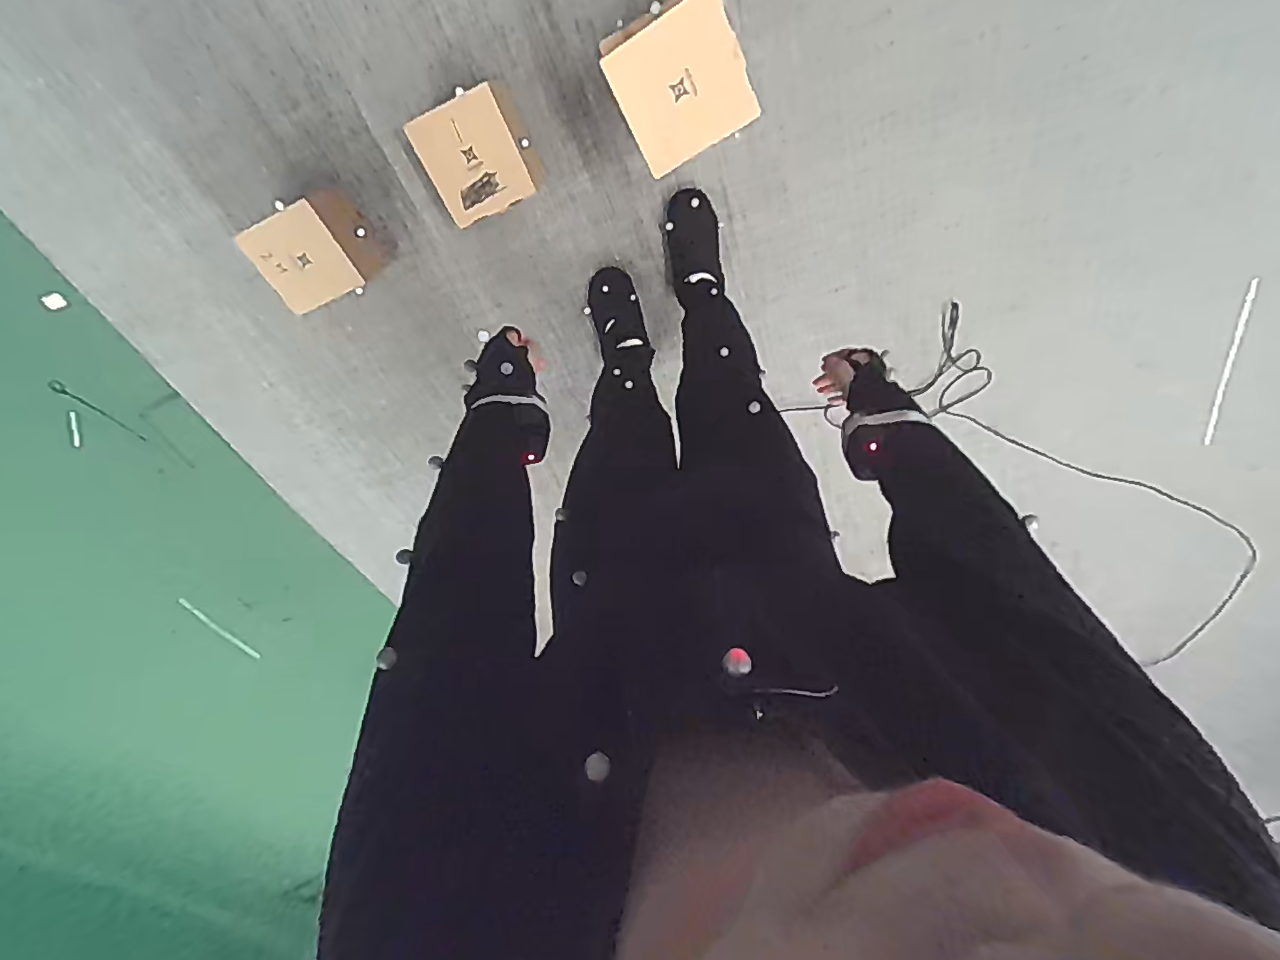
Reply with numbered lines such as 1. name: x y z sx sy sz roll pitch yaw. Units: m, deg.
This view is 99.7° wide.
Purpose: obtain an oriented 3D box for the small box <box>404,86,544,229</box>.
1. small box: -0.294 -0.602 1.005 0.168 0.176 0.179 -18 125 12

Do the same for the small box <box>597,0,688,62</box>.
1. small box: 0.040 -0.697 0.939 0.179 0.176 0.168 -20 126 13

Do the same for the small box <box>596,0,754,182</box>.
1. small box: 0.051 -0.588 0.818 0.179 0.176 0.168 -24 124 16

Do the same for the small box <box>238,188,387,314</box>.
1. small box: -0.648 -0.470 1.101 0.179 0.176 0.168 -18 125 12
